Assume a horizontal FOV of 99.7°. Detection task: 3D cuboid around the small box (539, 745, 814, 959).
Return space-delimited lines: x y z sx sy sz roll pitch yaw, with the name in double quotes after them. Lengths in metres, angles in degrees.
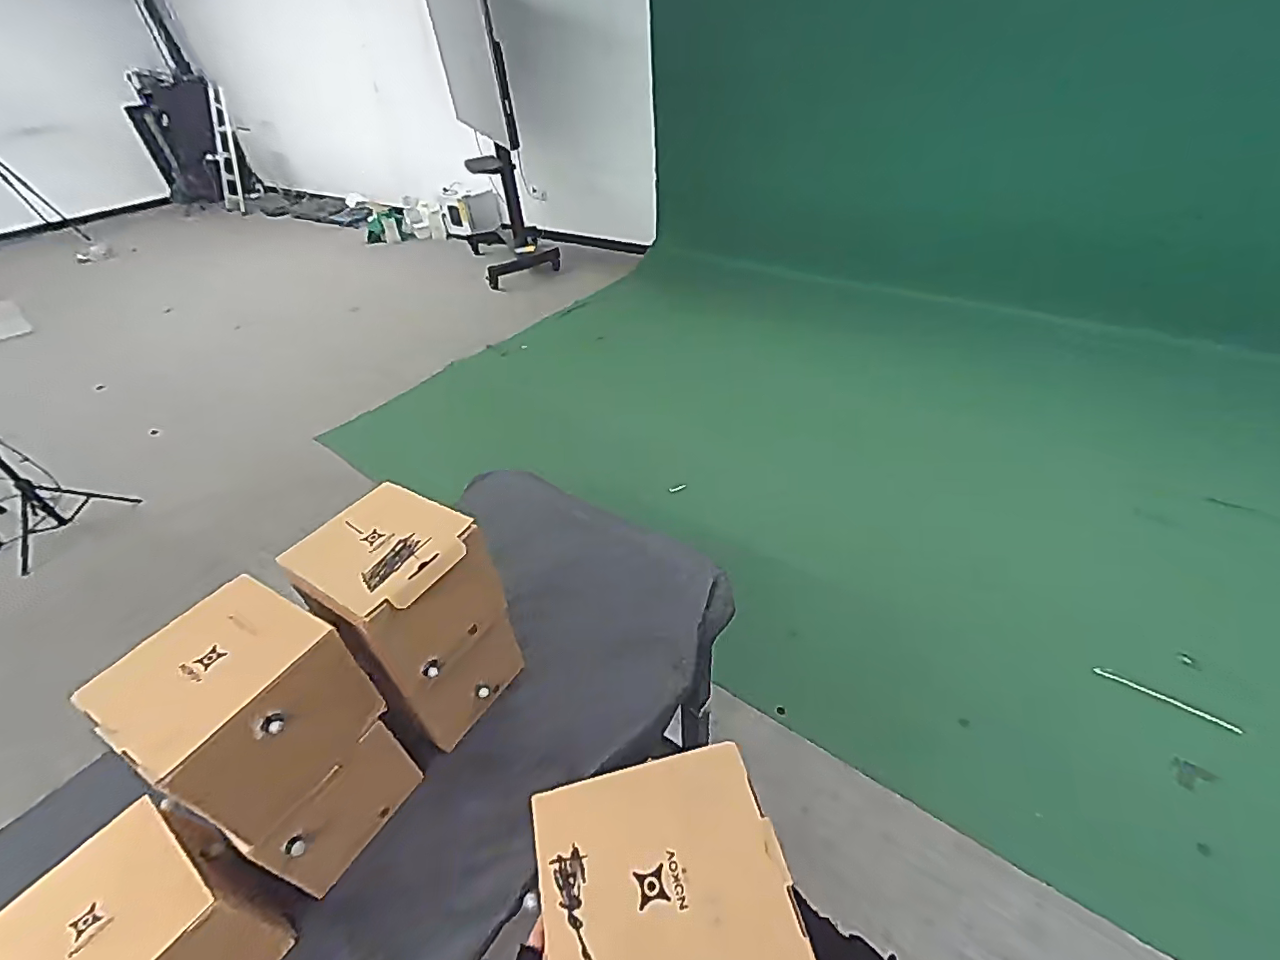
0.019 0.351 0.447 0.179 0.176 0.168 -9 43 -9 "small box"
